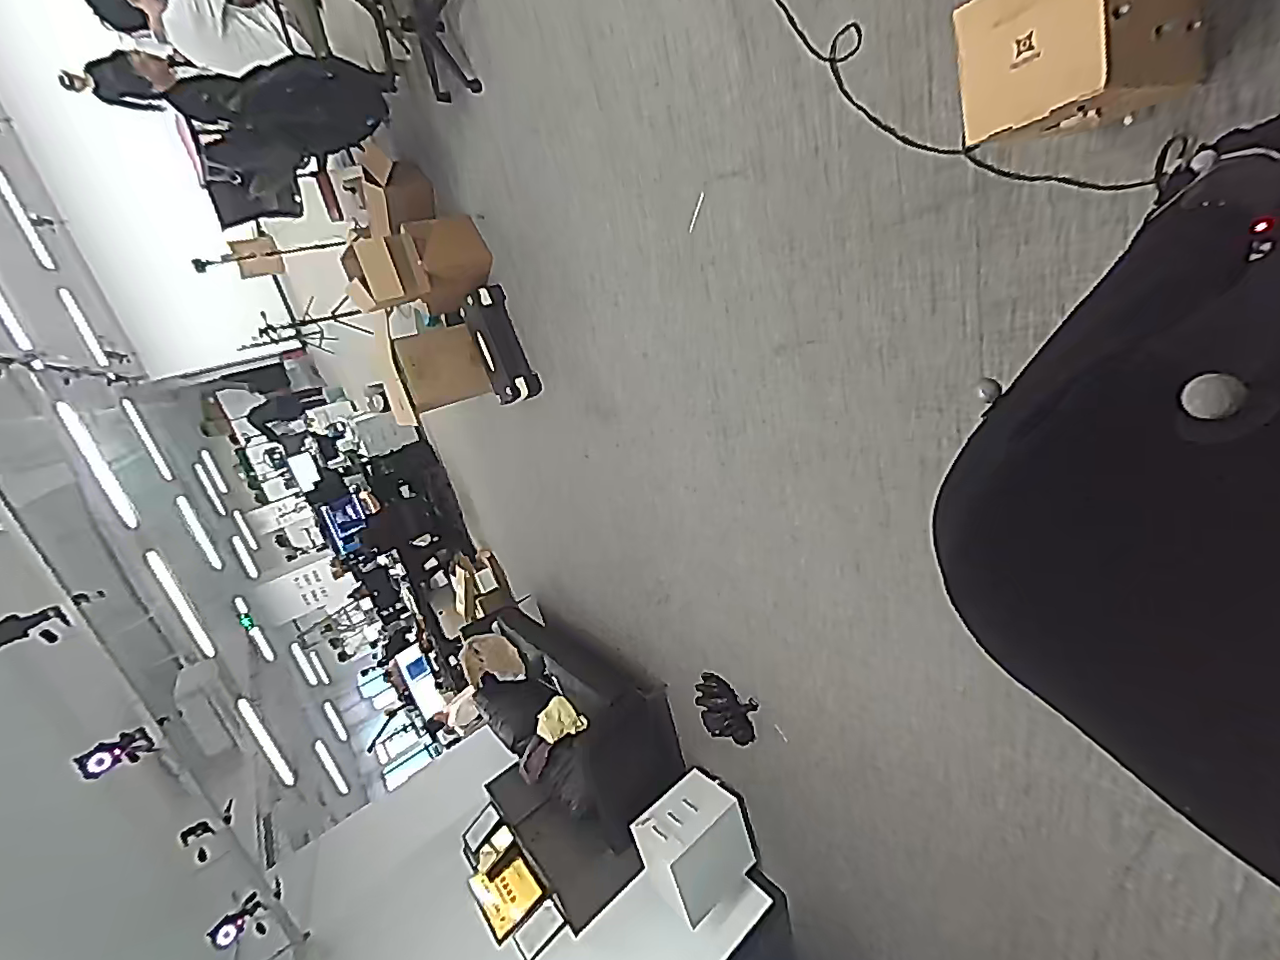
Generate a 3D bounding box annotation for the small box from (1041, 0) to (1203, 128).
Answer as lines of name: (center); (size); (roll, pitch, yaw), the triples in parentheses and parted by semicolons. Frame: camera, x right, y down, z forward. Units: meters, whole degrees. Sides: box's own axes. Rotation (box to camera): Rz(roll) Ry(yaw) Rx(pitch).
small box: (0.814, -0.730, 0.913); (0.168, 0.176, 0.179); (1, 115, 56)
